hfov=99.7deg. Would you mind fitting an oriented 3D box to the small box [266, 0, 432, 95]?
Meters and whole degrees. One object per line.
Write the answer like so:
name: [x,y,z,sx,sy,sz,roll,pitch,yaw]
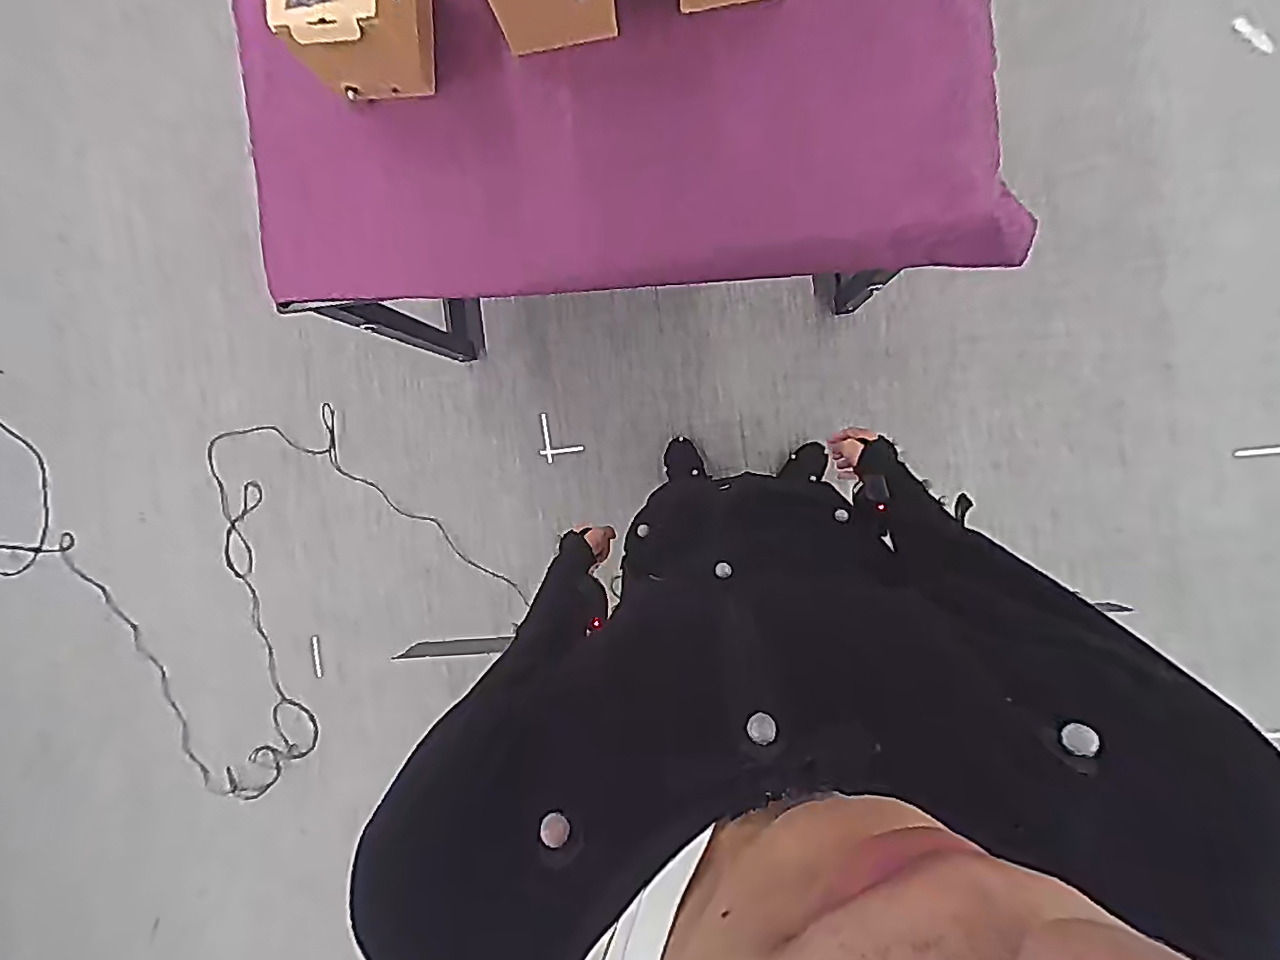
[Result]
small box: [-0.433,-0.723,0.825,0.168,0.176,0.179,0,94,5]
